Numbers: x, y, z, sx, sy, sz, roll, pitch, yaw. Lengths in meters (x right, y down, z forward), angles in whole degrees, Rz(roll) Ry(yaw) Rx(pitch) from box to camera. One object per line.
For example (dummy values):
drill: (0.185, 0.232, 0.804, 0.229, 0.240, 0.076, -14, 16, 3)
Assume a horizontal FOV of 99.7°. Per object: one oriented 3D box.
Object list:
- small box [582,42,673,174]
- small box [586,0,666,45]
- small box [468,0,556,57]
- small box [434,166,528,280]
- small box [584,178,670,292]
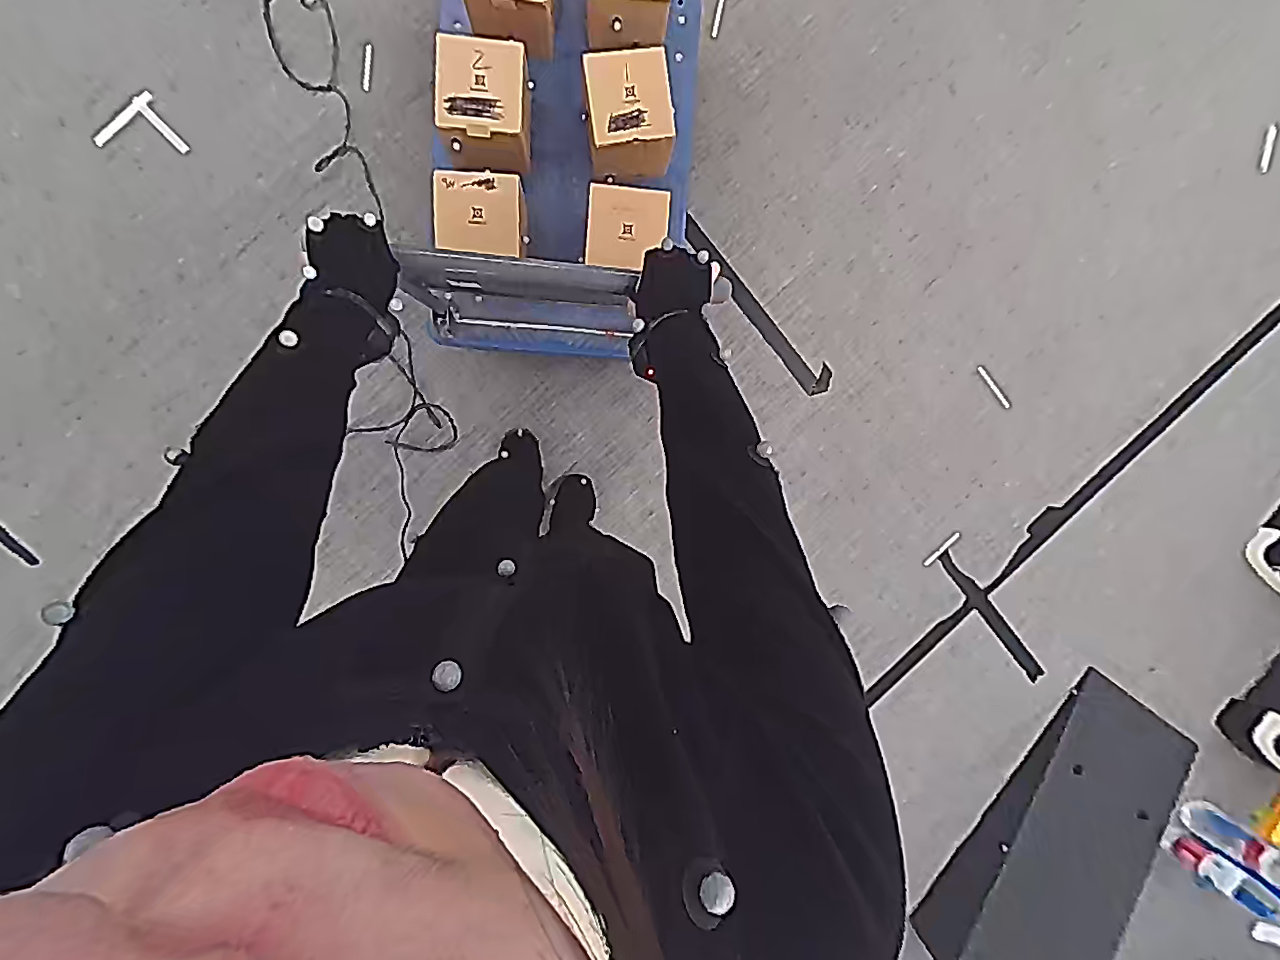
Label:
small box: (-0.029, -0.777, 1.151, 0.168, 0.176, 0.179, -9, 95, -5)
small box: (-0.028, -1.049, 1.127, 0.168, 0.176, 0.179, 0, 95, -5)
small box: (-0.261, -1.025, 1.105, 0.168, 0.176, 0.179, 5, 95, -6)
small box: (-0.329, -0.532, 1.143, 0.168, 0.176, 0.179, 0, 95, -7)
small box: (-0.033, -0.520, 1.176, 0.168, 0.176, 0.179, 4, 94, -6)
